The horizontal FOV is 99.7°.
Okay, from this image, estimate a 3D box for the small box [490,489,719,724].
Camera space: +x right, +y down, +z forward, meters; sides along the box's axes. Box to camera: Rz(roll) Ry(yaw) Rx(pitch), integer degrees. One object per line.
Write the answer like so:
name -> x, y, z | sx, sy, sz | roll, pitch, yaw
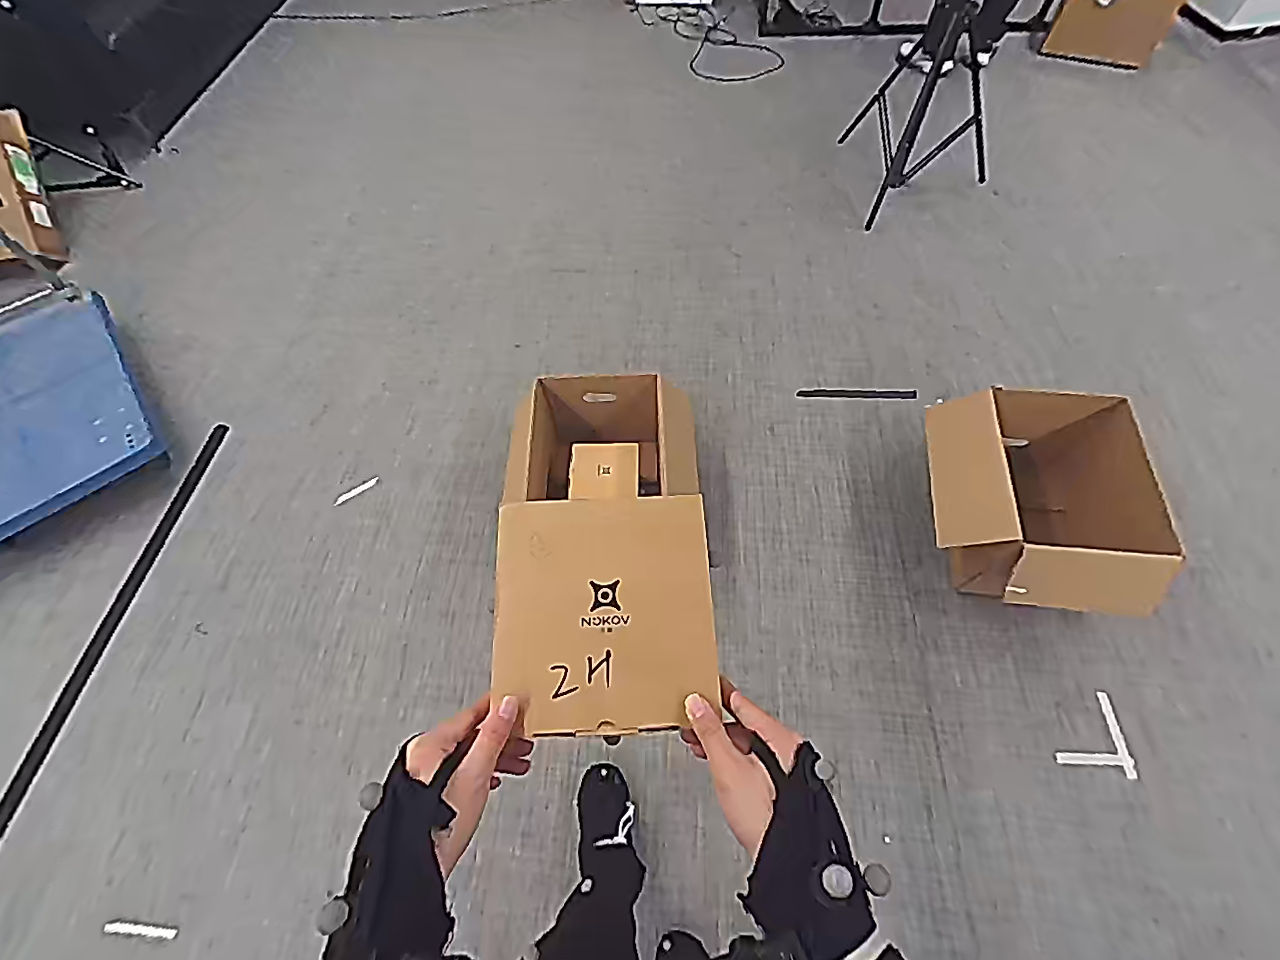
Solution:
small box -> -0.029, 0.119, 0.487 | 0.168, 0.176, 0.179 | -2, 69, -1
